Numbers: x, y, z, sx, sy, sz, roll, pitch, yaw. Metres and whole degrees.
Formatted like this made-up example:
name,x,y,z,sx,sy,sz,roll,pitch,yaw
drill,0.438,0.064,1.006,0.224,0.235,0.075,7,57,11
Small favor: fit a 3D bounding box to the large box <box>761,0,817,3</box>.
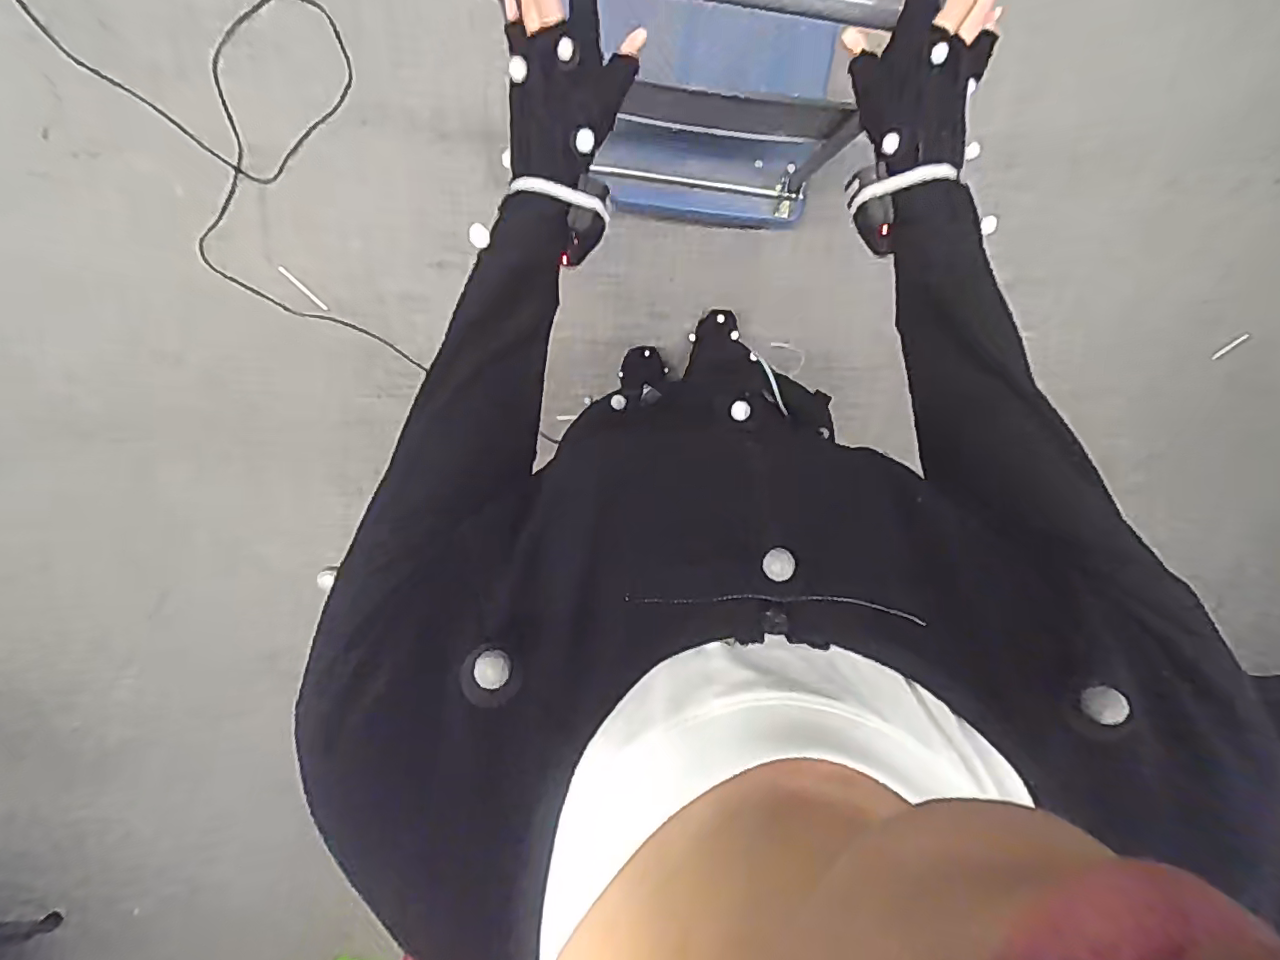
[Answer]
name,x,y,z,sx,sy,sz,roll,pitch,yaw
large box,0.162,-1.038,0.865,0.408,0.320,0.320,3,106,-2
